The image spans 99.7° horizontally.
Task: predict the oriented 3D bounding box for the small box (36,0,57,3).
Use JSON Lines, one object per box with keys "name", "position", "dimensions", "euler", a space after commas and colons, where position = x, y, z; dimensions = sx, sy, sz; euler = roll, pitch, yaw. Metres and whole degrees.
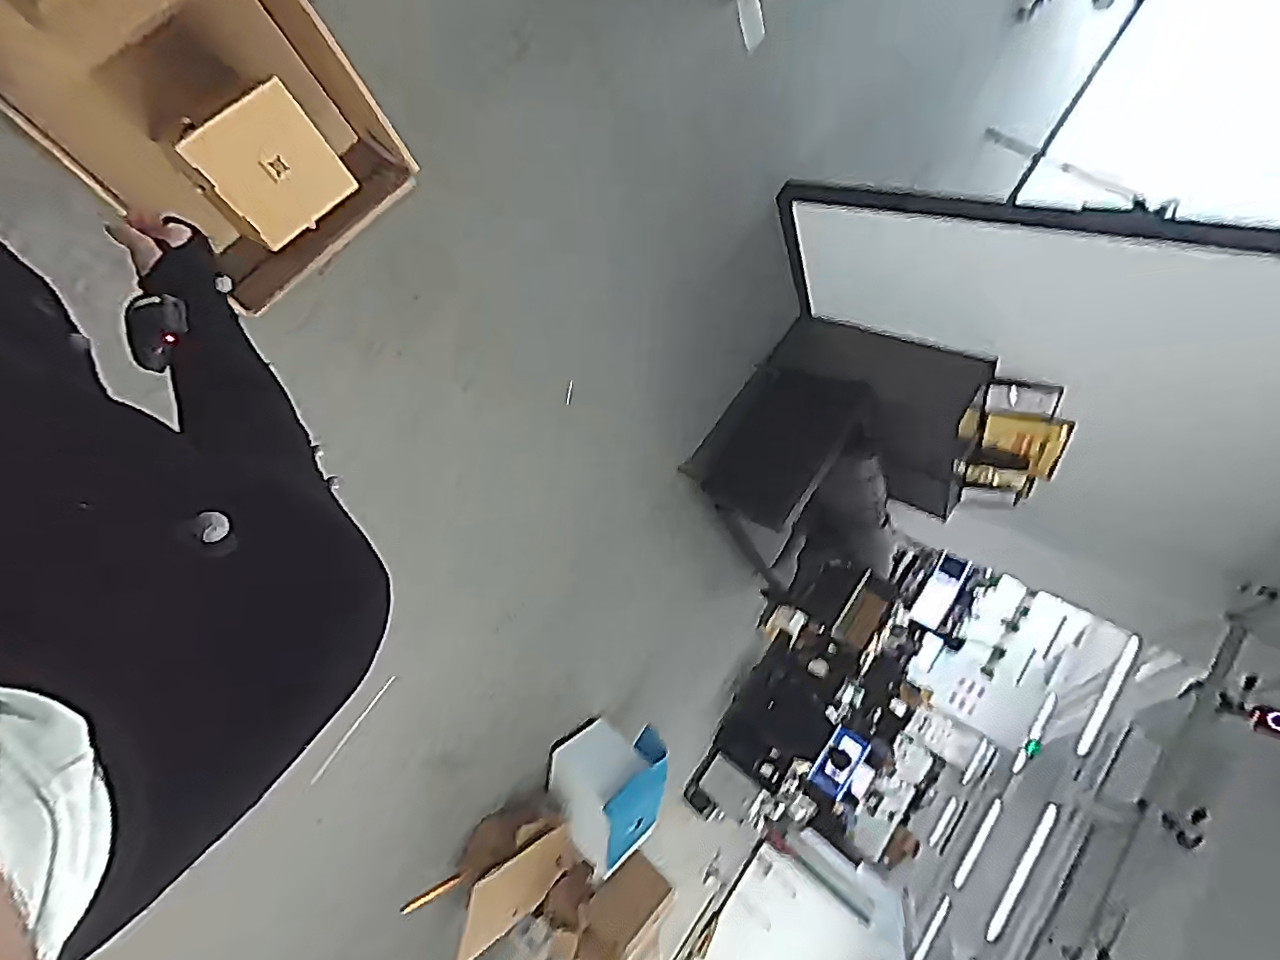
{"name": "small box", "position": [-0.579, -0.598, 0.515], "dimensions": [0.179, 0.176, 0.168], "euler": [-48, 142, -16]}
